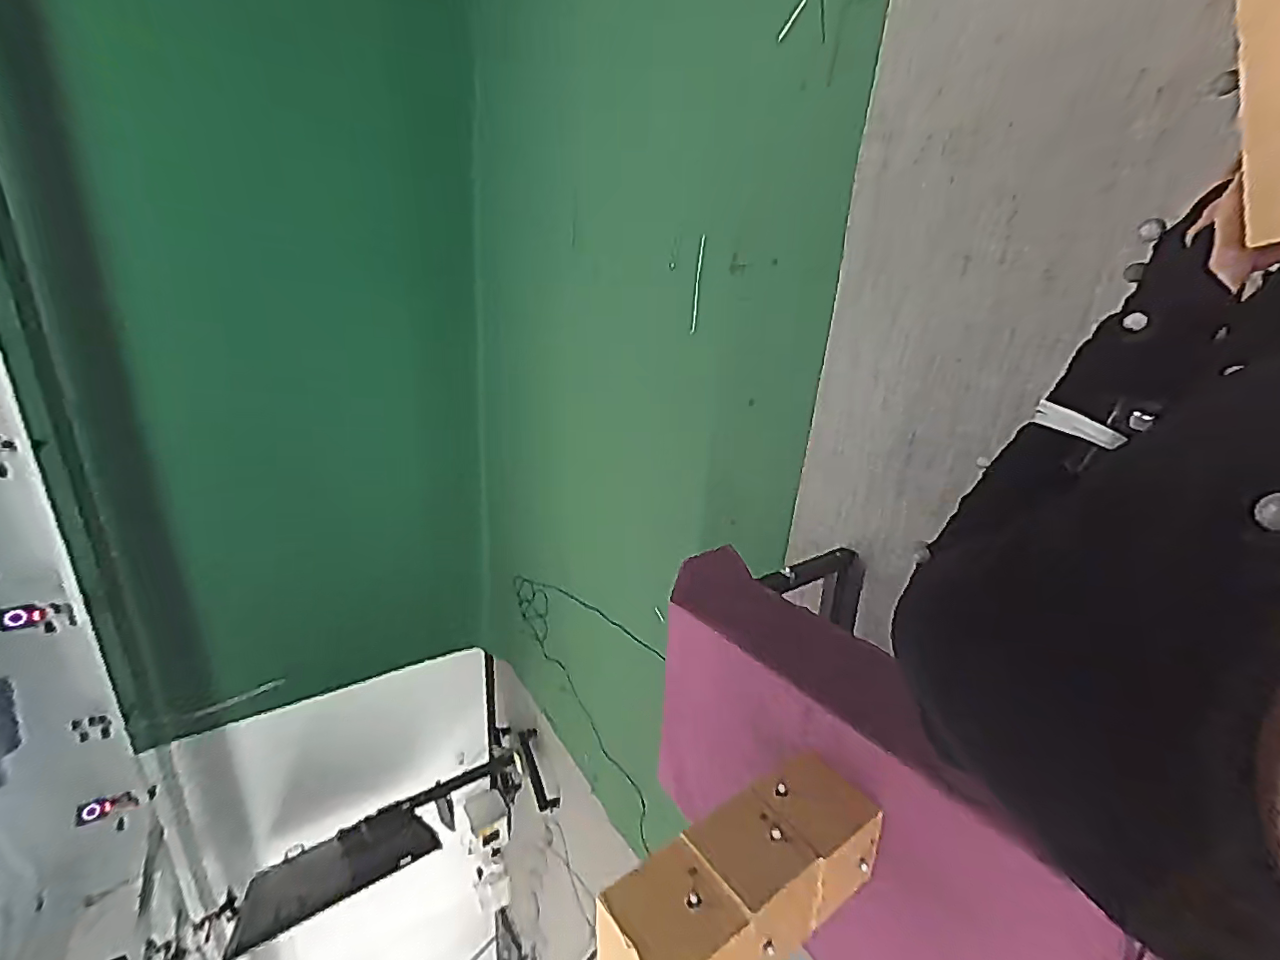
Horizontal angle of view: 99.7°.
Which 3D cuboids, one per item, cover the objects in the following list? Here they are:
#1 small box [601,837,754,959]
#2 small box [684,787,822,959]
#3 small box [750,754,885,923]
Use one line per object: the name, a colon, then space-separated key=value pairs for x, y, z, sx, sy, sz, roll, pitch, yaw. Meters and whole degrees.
small box: x=0.056 y=0.703 z=0.821 sx=0.168 sy=0.176 sz=0.179 roll=20 pitch=114 yaw=51
small box: x=0.186 y=0.672 z=0.914 sx=0.168 sy=0.176 sz=0.179 roll=23 pitch=116 yaw=50
small box: x=0.318 y=0.645 z=1.005 sx=0.179 sy=0.176 sz=0.168 roll=25 pitch=119 yaw=50
